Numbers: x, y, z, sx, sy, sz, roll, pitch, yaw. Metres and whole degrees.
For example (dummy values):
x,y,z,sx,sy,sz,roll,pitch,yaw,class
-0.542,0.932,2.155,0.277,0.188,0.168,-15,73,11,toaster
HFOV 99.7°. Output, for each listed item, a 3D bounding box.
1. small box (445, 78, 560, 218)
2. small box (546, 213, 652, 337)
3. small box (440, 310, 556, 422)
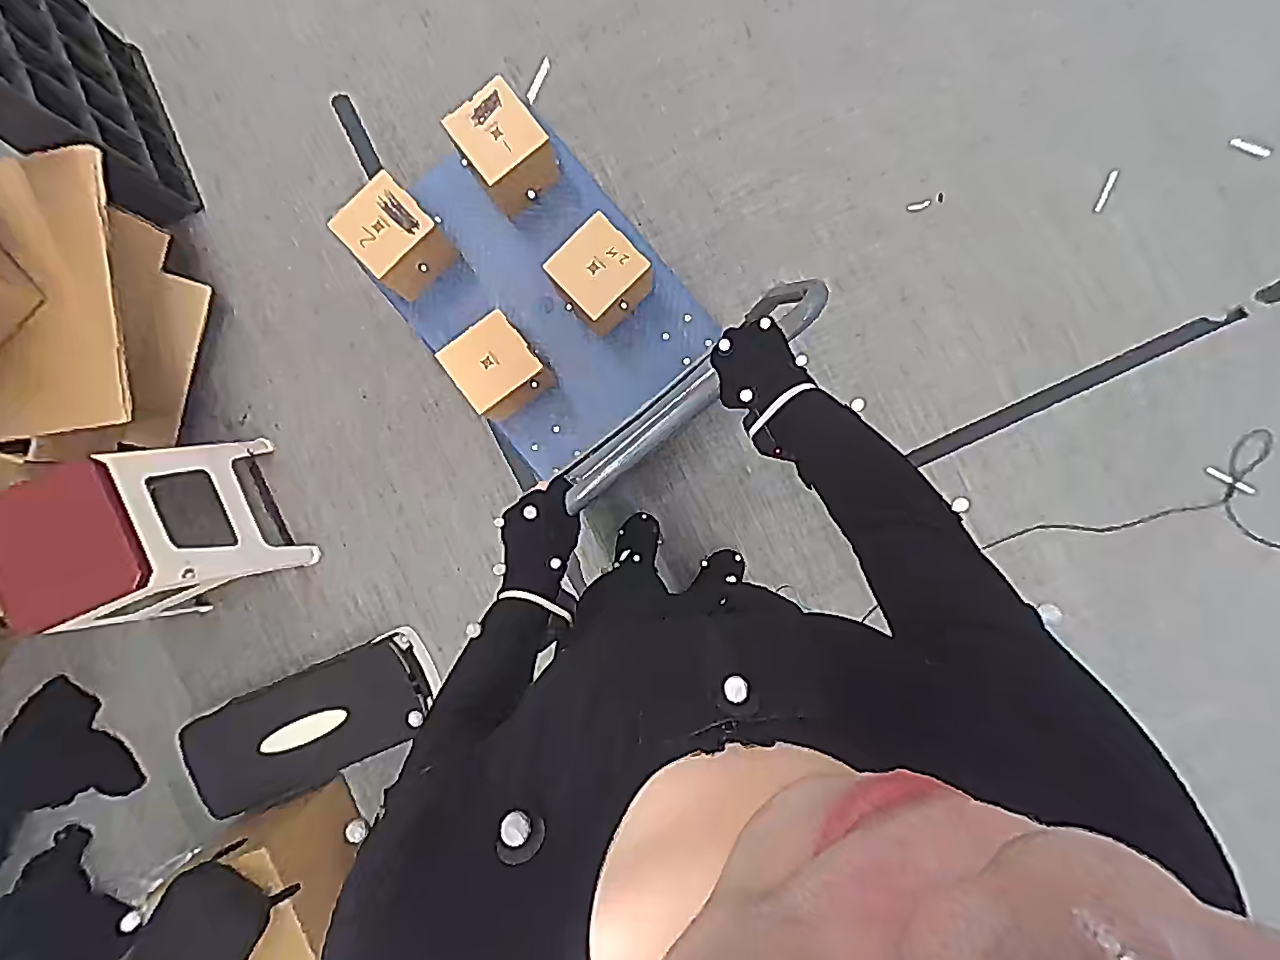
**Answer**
x,y,z,sx,sy,sz,roll,pitch,yaw,class
-0.304,-0.745,1.234,0.168,0.176,0.179,-38,91,2,small box
-0.085,-0.455,1.236,0.179,0.176,0.168,-44,90,2,small box
-0.317,-0.251,1.244,0.179,0.176,0.168,-37,90,0,small box
